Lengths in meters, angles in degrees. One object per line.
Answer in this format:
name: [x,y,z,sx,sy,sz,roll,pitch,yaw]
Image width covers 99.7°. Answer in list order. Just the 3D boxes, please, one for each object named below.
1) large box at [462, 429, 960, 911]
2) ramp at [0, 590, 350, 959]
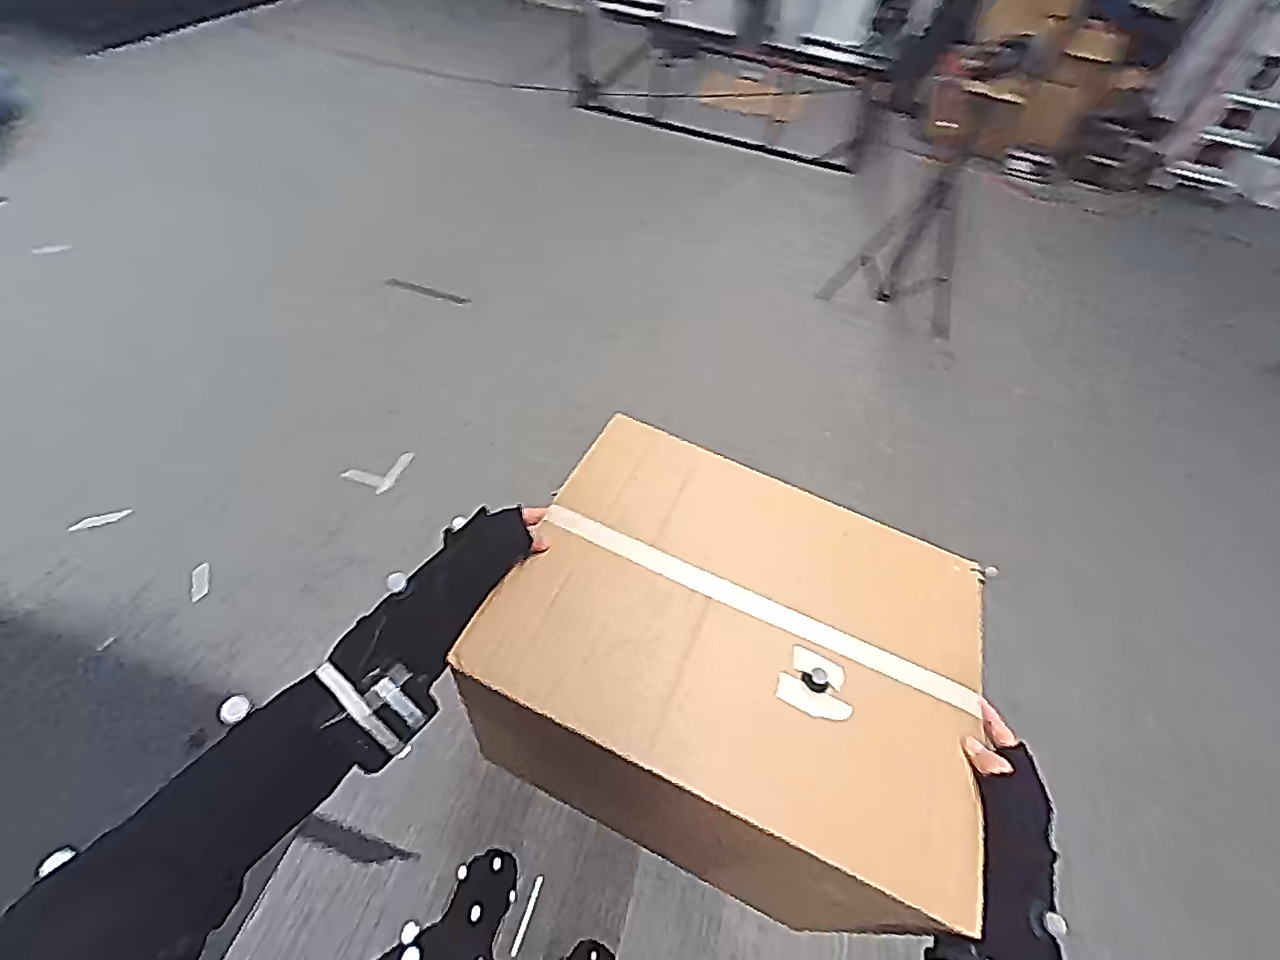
large box: [0.069,0.209,0.606,0.408,0.320,0.320,23,51,8]
ramp: [-1.216,0.600,1.144,0.991,0.206,0.509,17,51,5]
